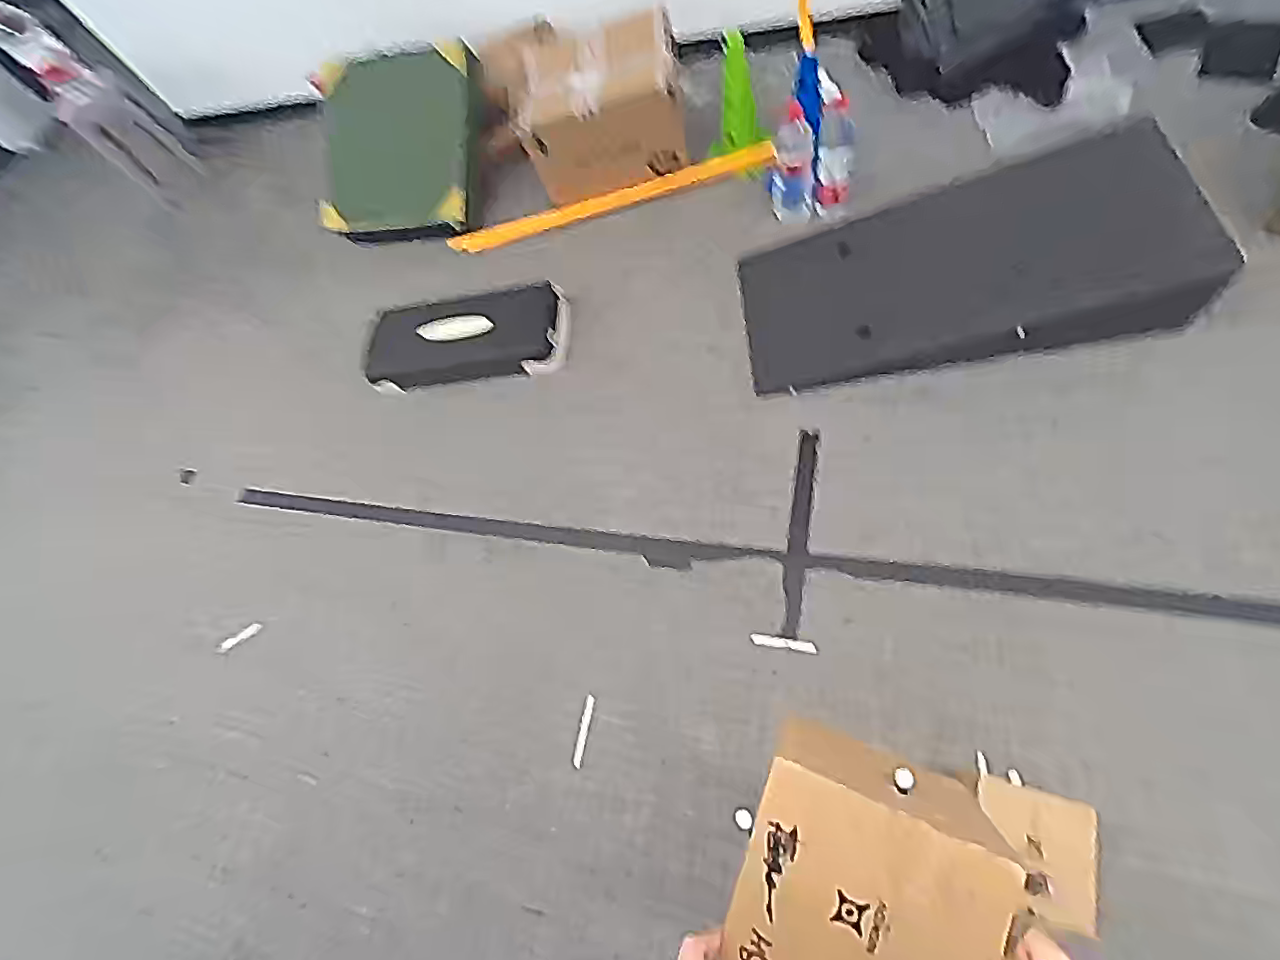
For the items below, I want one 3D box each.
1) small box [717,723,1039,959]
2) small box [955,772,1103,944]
[{"bbox_3d":[0.179,0.325,0.447,0.179,0.176,0.168,17,83,19],"label":"small box"},{"bbox_3d":[0.637,0.616,0.910,0.168,0.176,0.179,12,70,19],"label":"small box"}]
